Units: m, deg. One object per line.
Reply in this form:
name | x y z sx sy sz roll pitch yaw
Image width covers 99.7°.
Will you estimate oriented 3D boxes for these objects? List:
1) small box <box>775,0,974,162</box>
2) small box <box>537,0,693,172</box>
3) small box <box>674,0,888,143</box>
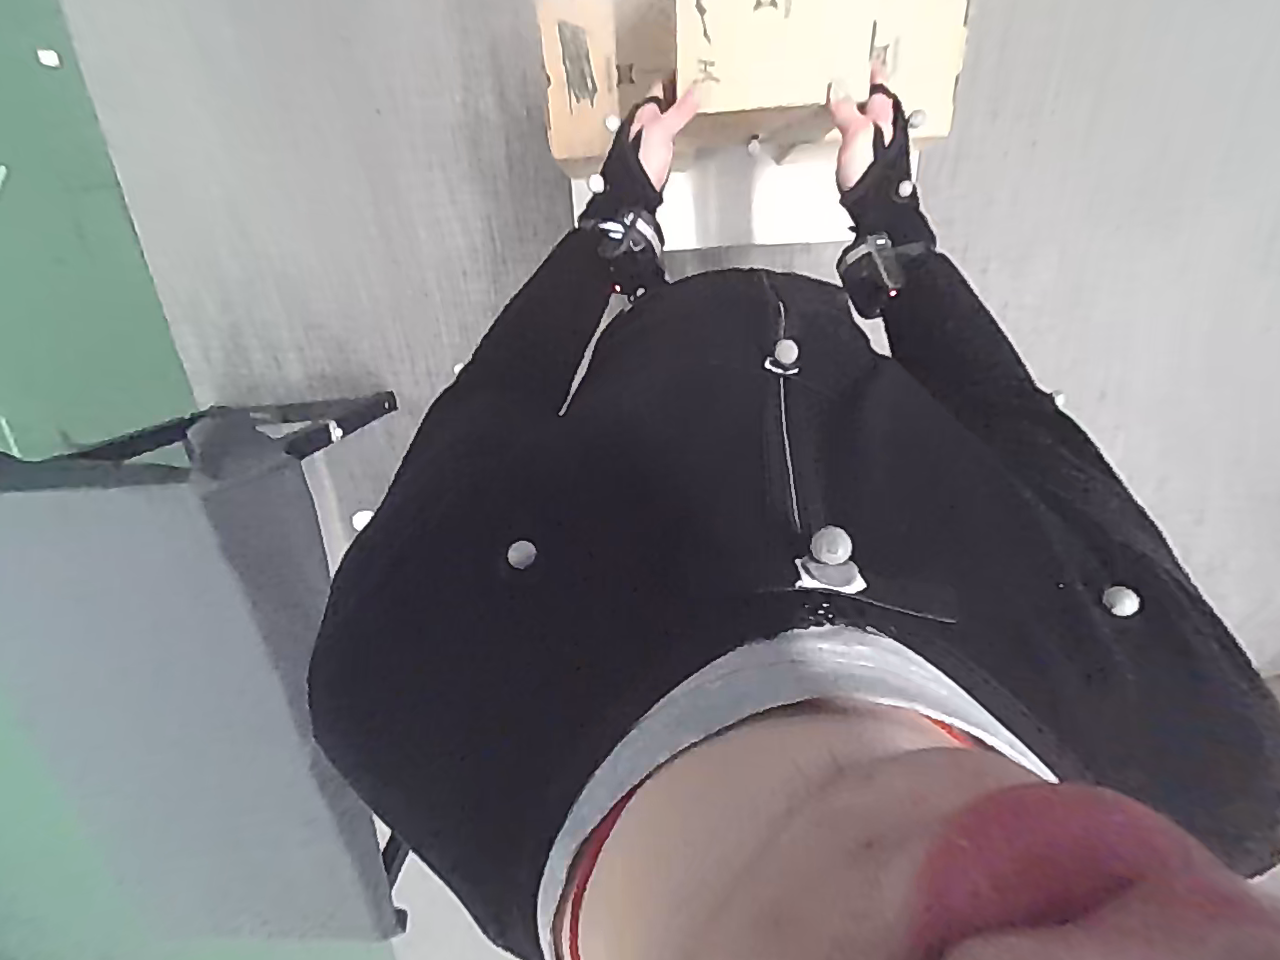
small box | 0.277 -0.506 0.675 0.179 0.176 0.168 0 112 3
small box | -0.022 -0.498 0.686 0.179 0.176 0.168 -3 113 1
small box | 0.125 -0.442 0.531 0.179 0.176 0.168 -1 113 2
